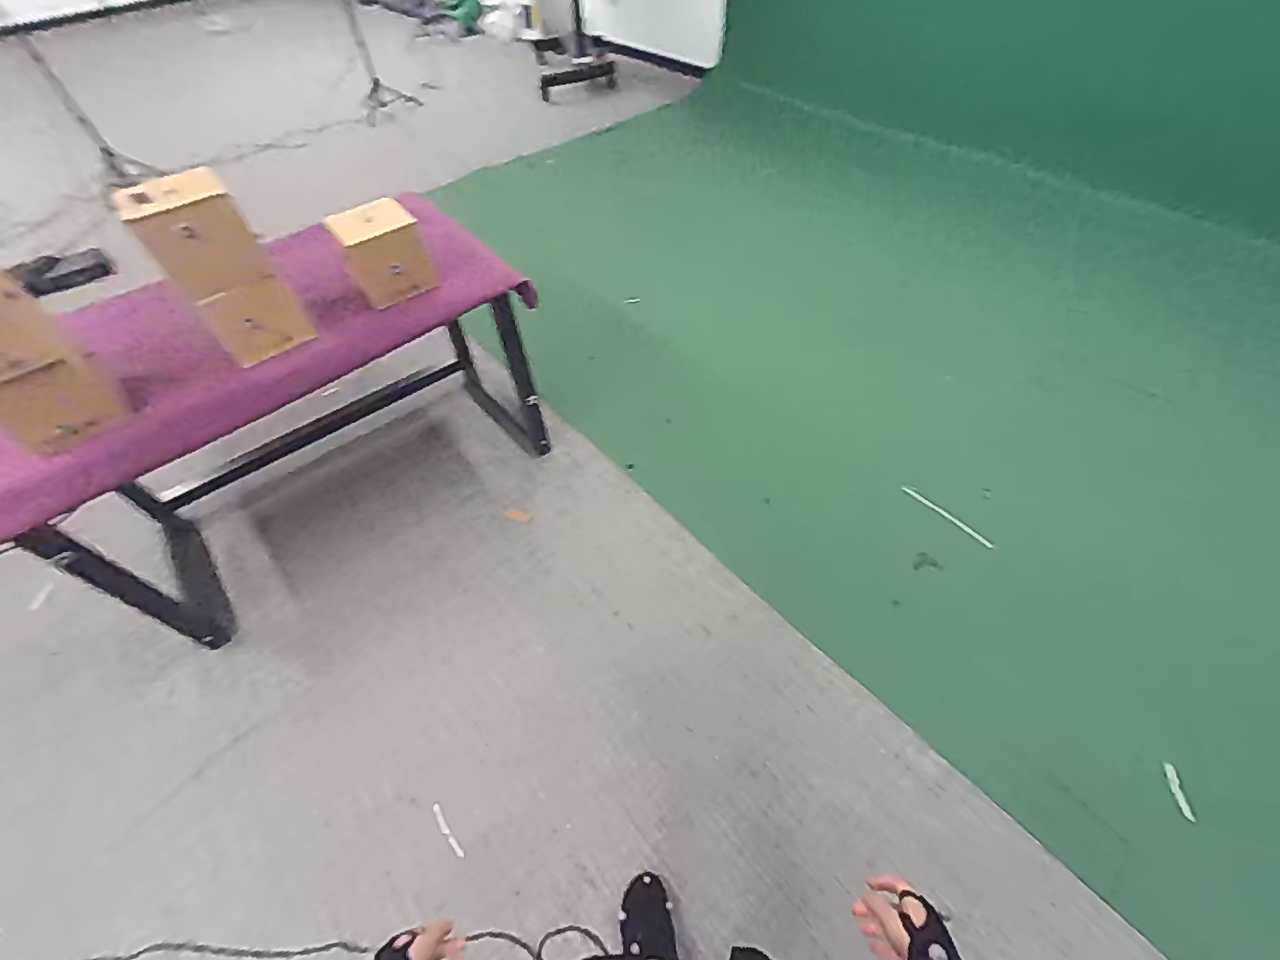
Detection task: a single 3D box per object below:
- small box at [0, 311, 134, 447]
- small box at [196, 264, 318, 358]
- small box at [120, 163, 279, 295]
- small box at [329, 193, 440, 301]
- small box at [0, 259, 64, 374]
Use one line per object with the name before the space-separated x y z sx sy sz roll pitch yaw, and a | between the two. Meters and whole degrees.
small box | -1.164 -0.197 1.068 0.168 0.176 0.179 -36 59 -22
small box | -0.863 -0.398 1.210 0.168 0.176 0.179 -36 57 -22
small box | -0.871 -0.499 1.080 0.179 0.176 0.168 -33 56 -21
small box | -0.617 -0.563 1.321 0.168 0.176 0.179 -32 56 -20
small box | -1.163 -0.291 0.934 0.168 0.176 0.179 -34 59 -21
